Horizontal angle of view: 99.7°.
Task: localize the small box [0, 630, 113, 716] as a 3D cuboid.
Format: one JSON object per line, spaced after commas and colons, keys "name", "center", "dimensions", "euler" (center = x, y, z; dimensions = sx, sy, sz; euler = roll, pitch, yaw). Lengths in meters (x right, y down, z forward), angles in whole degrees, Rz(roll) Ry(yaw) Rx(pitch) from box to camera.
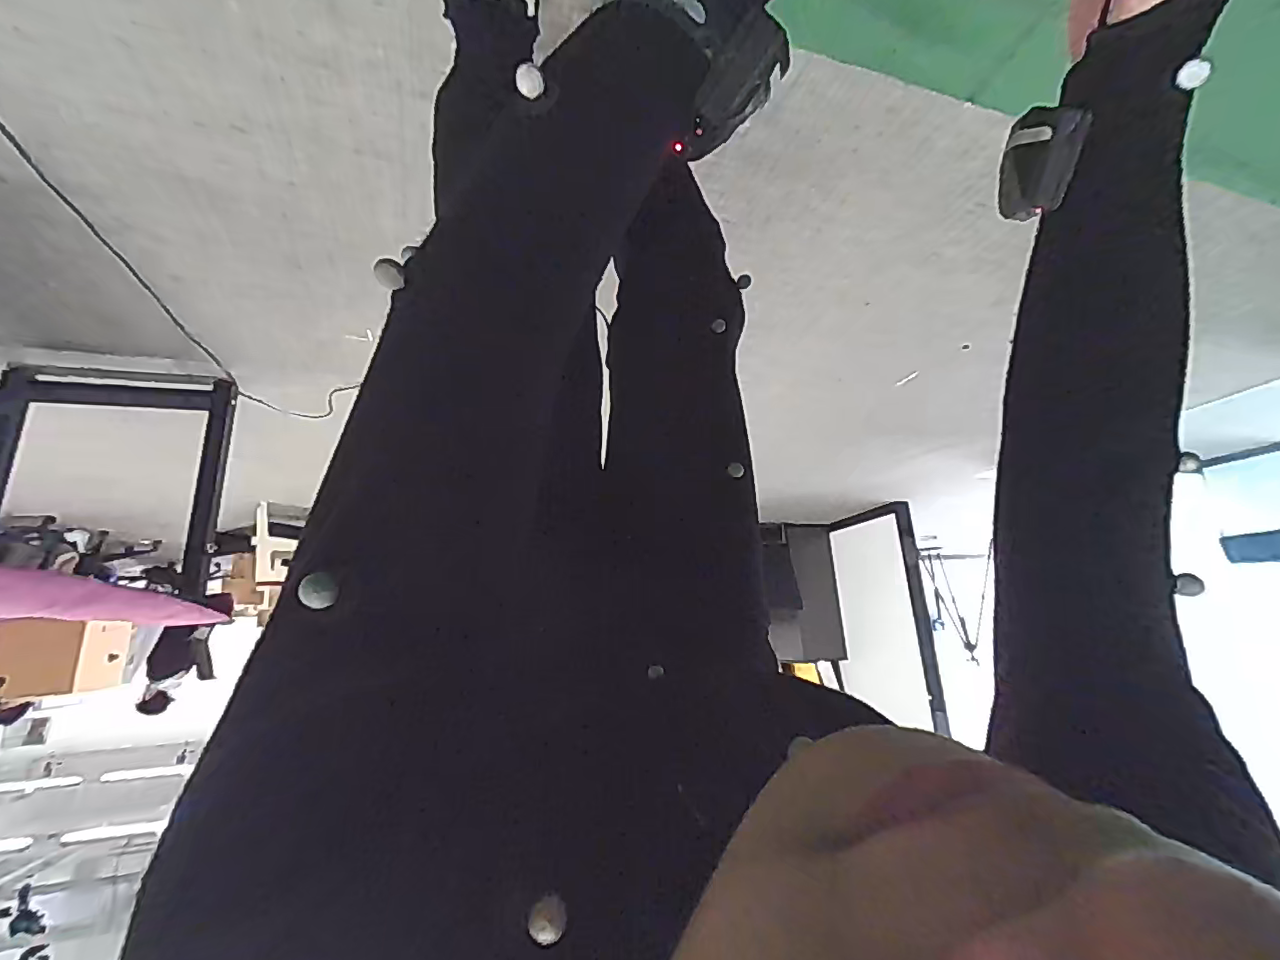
{"name": "small box", "center": [-1.341, 0.428, 1.216], "dimensions": [0.179, 0.176, 0.168], "euler": [2, 163, -15]}
